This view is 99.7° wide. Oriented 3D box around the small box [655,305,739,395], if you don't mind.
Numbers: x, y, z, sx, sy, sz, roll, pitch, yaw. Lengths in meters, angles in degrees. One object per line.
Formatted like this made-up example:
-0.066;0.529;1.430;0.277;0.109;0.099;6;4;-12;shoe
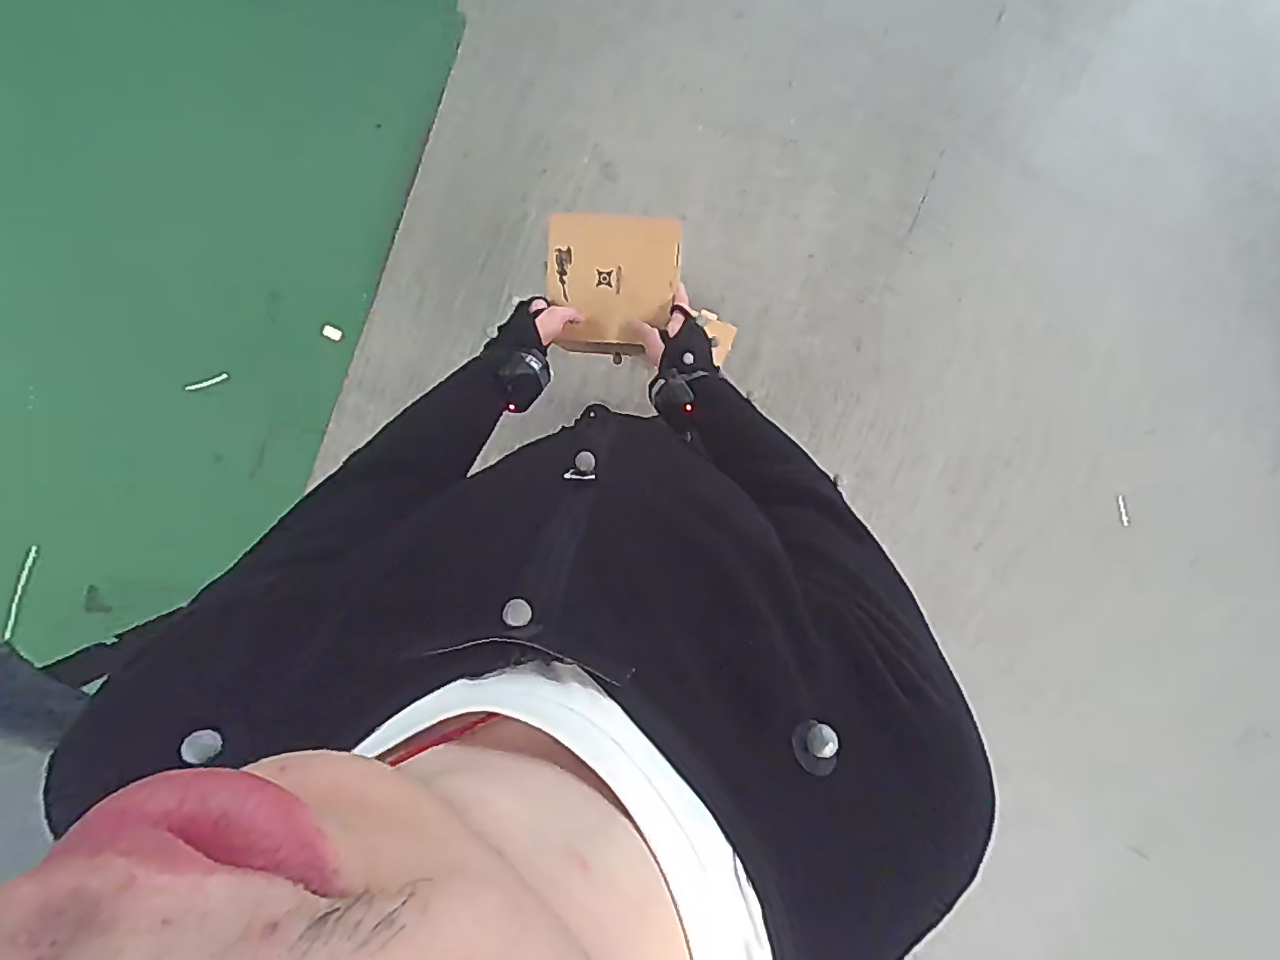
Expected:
0.143;-0.341;1.454;0.168;0.176;0.179;24;95;-2;small box

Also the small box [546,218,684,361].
-0.032;-0.269;0.799;0.179;0.176;0.168;5;98;2;small box
